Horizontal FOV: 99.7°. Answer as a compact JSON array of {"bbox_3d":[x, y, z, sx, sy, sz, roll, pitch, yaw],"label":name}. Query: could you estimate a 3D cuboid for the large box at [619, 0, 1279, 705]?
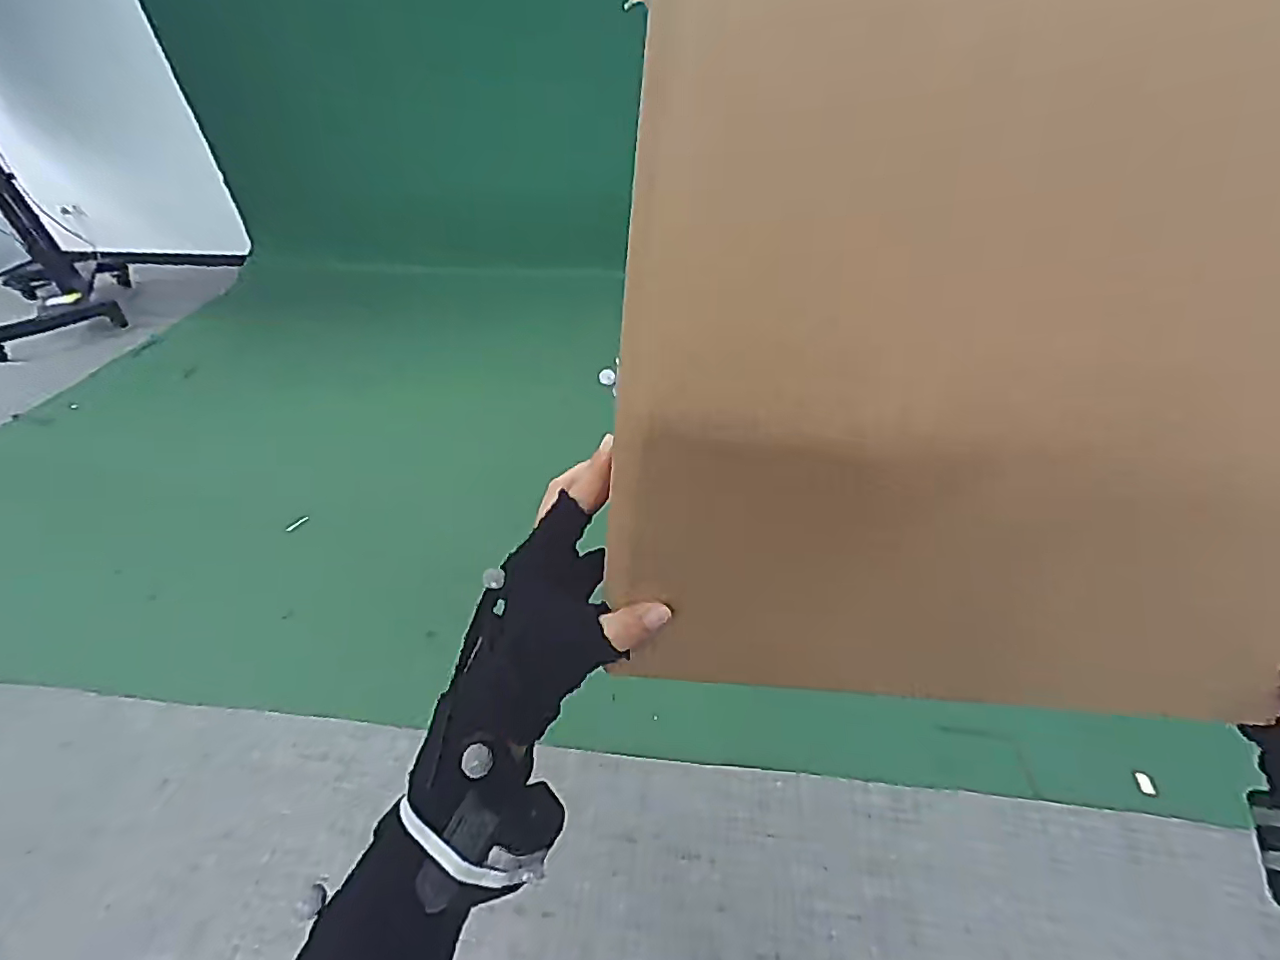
[{"bbox_3d":[0.199,-0.083,0.344,0.408,0.320,0.320,5,40,-4],"label":"large box"}]
